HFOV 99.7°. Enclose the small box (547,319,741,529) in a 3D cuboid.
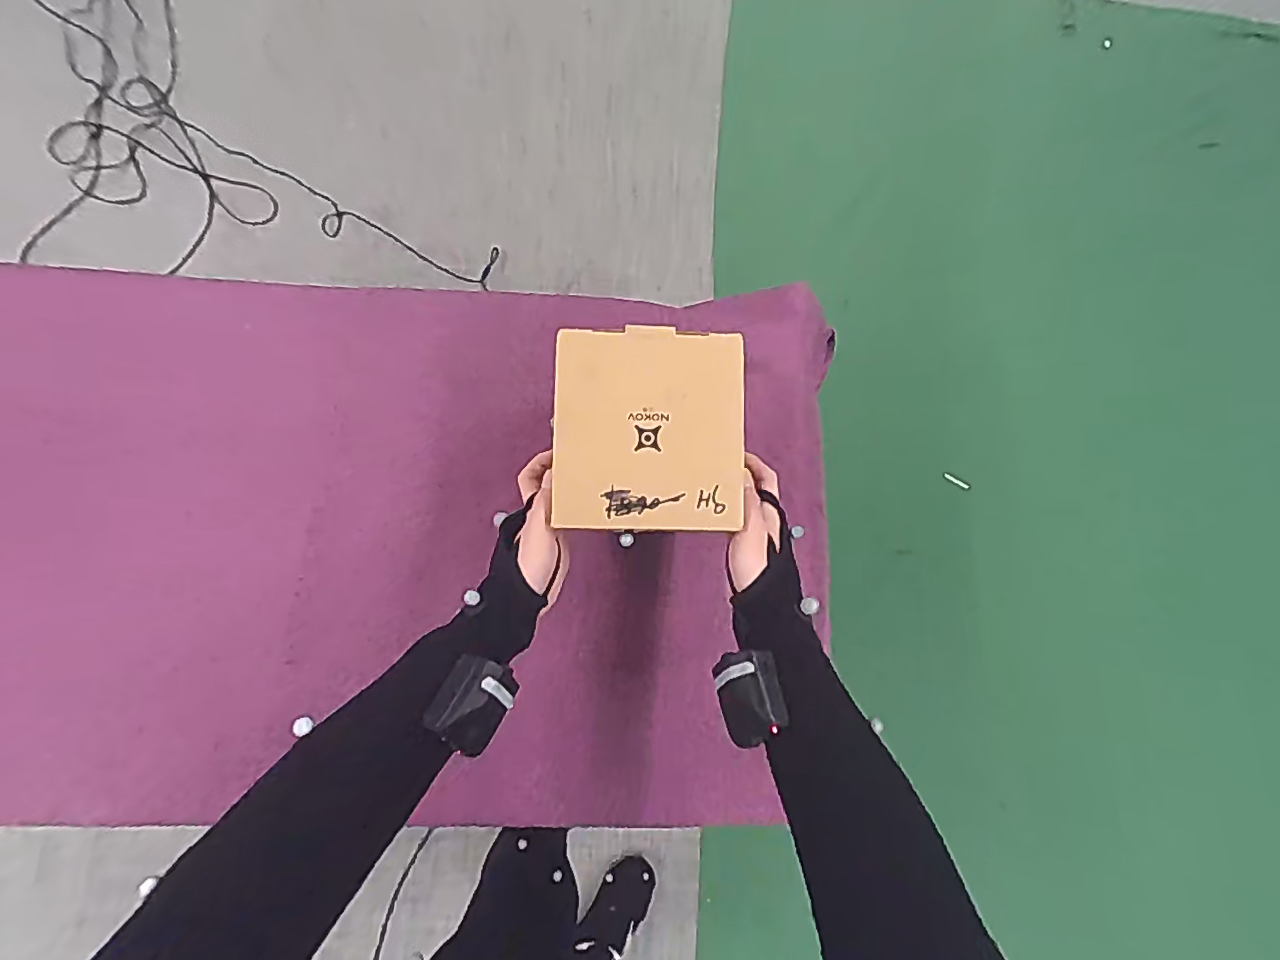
[{"bbox_3d":[0.003,-0.044,0.542,0.168,0.176,0.179,1,83,0],"label":"small box"}]
